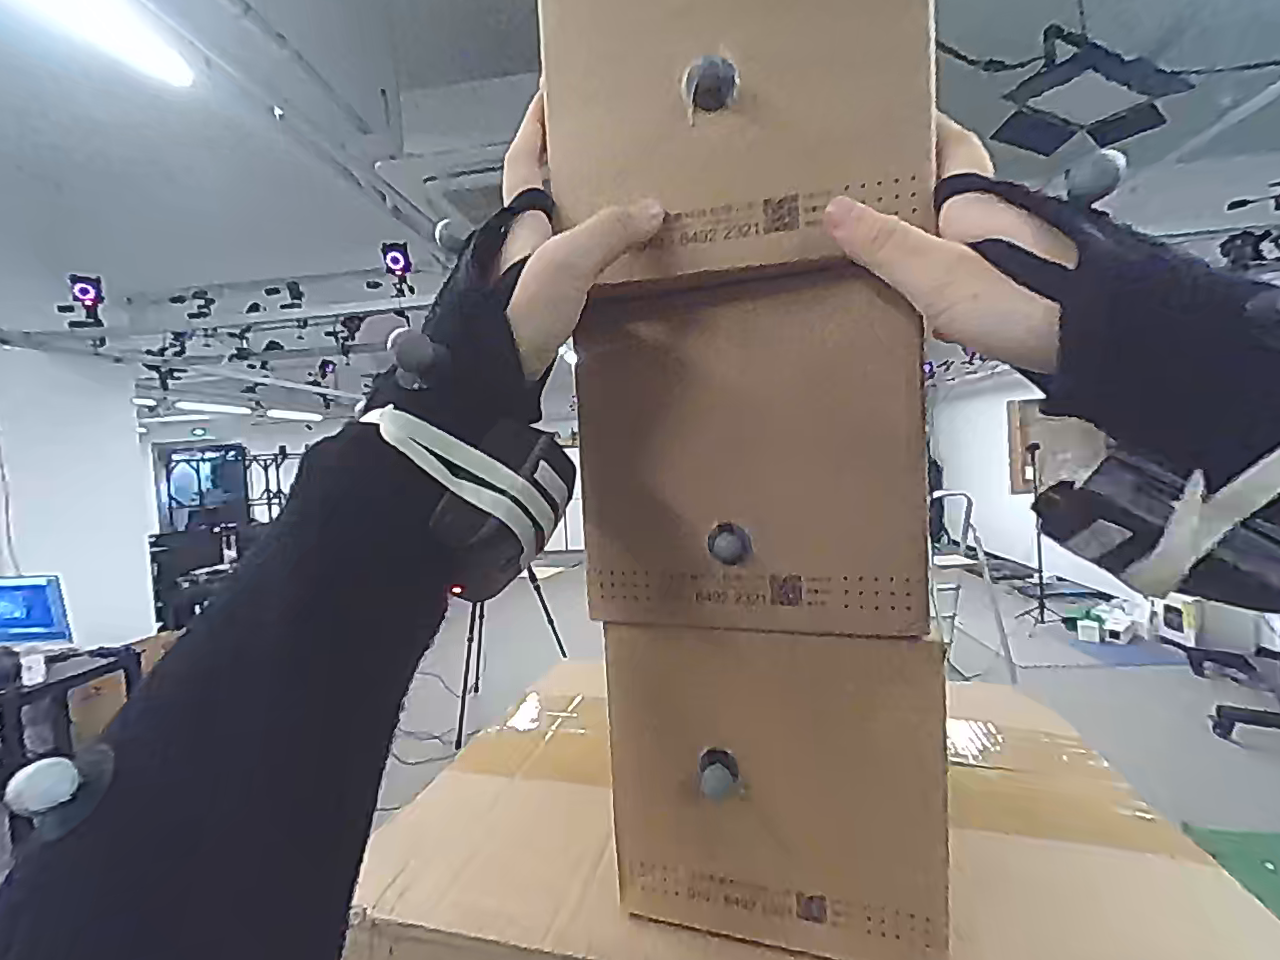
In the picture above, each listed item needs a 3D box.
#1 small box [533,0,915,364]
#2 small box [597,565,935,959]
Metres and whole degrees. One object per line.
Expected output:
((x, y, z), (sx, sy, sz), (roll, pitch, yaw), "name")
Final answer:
((0.053, -0.170, 0.316), (0.168, 0.176, 0.179), (-1, 3, 14), "small box")
((0.084, 0.156, 0.351), (0.168, 0.176, 0.179), (-2, 3, 18), "small box")
